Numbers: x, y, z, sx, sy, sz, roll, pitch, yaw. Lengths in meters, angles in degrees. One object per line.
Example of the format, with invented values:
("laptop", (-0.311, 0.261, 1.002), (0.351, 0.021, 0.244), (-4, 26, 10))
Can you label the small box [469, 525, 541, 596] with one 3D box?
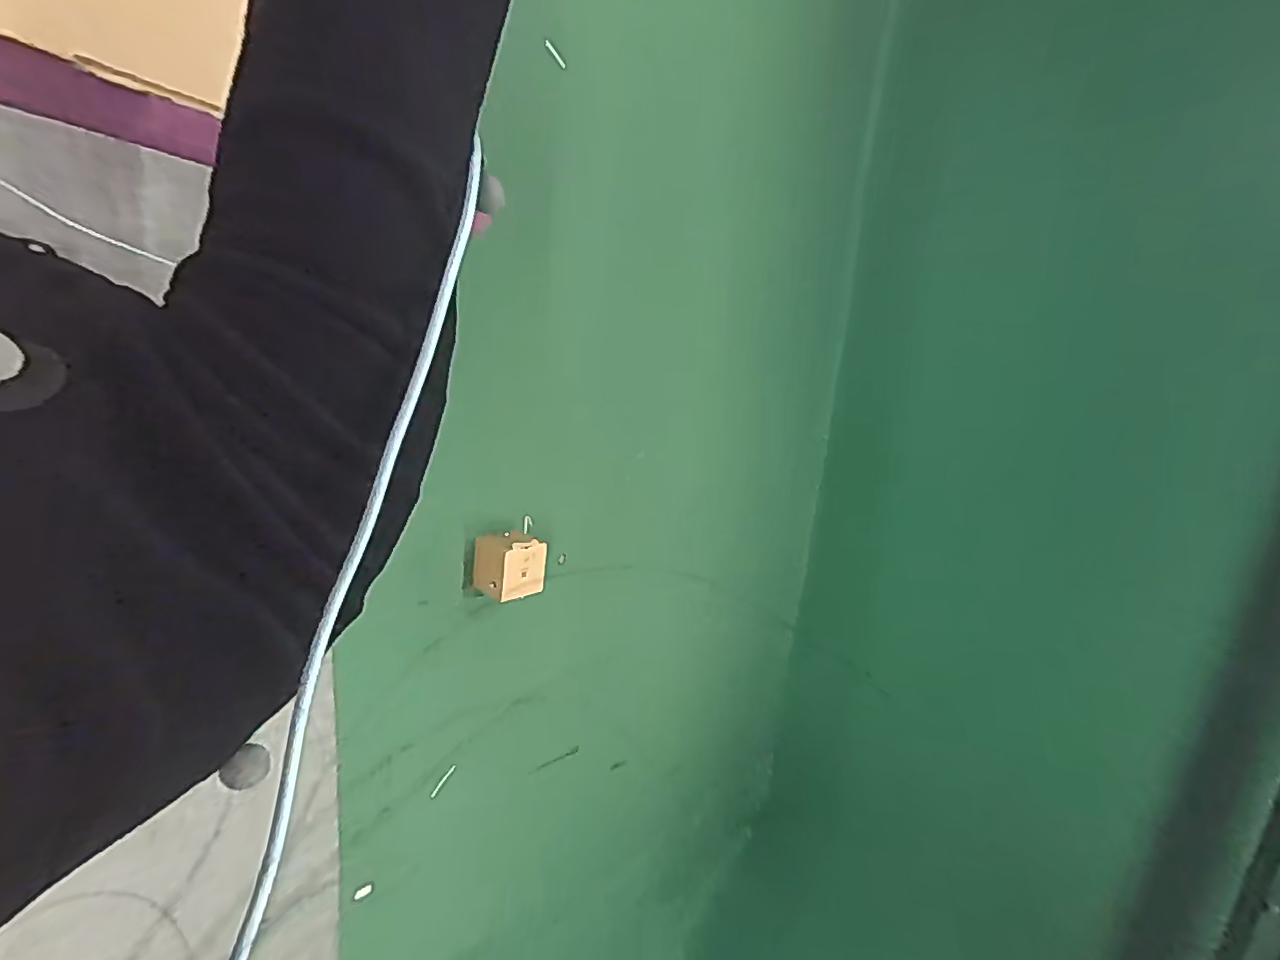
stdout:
("small box", (-0.454, 0.263, 1.809), (0.168, 0.176, 0.179), (-6, 107, -49))
